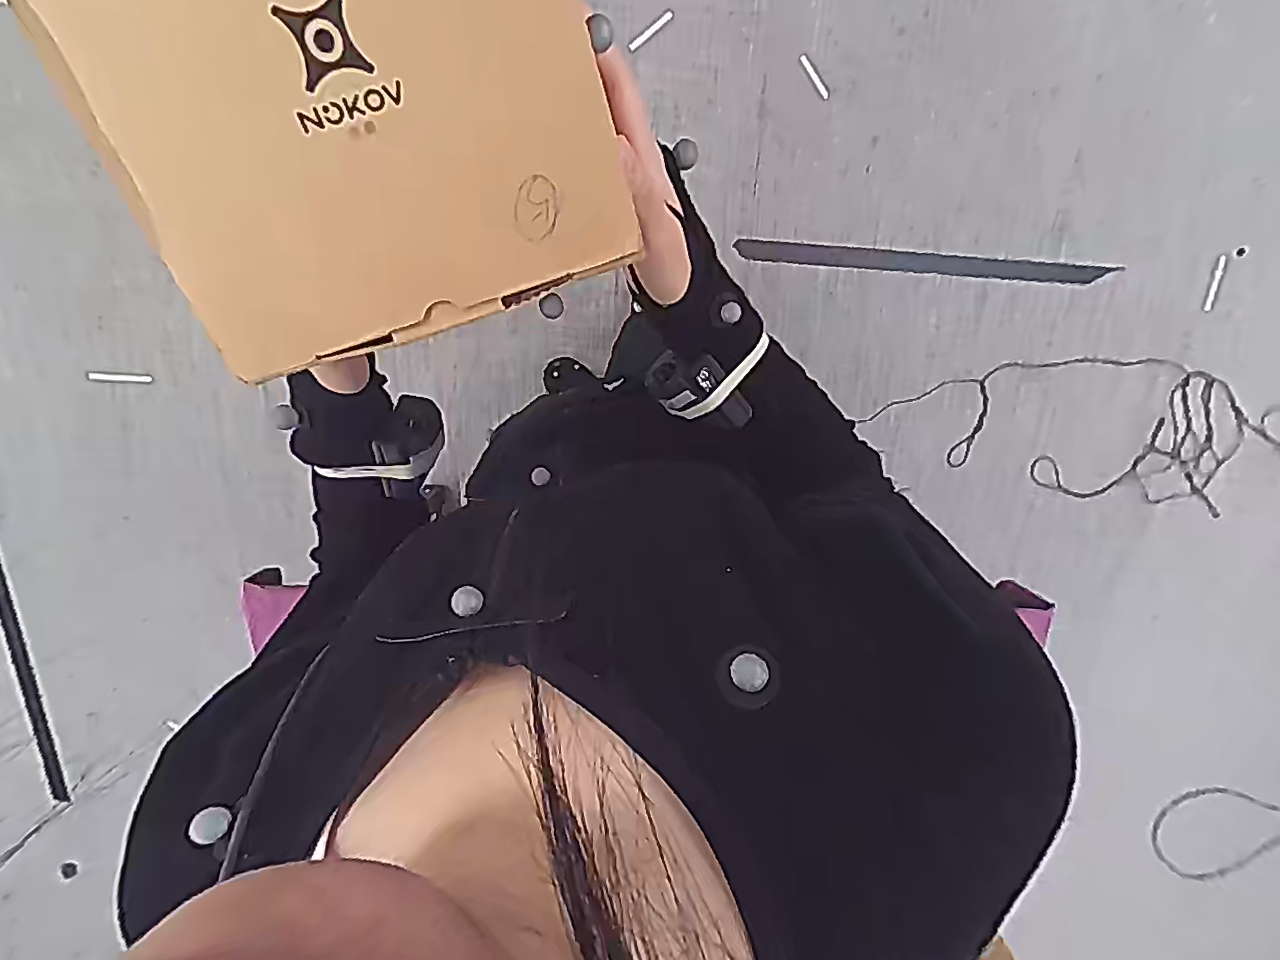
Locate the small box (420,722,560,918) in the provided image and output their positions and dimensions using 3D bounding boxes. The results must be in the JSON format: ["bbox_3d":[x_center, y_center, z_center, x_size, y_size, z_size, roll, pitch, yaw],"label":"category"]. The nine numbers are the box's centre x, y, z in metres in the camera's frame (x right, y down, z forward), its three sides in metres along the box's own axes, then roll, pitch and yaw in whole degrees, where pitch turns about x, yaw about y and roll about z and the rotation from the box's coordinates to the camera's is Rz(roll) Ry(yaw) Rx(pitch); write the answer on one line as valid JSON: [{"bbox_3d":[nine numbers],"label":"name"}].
[{"bbox_3d":[-0.211,0.493,0.796,0.168,0.176,0.179,7,105,-6],"label":"small box"}]

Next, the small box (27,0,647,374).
[{"bbox_3d":[-0.105,-0.169,0.247,0.168,0.176,0.179,-19,112,-1],"label":"small box"}]
